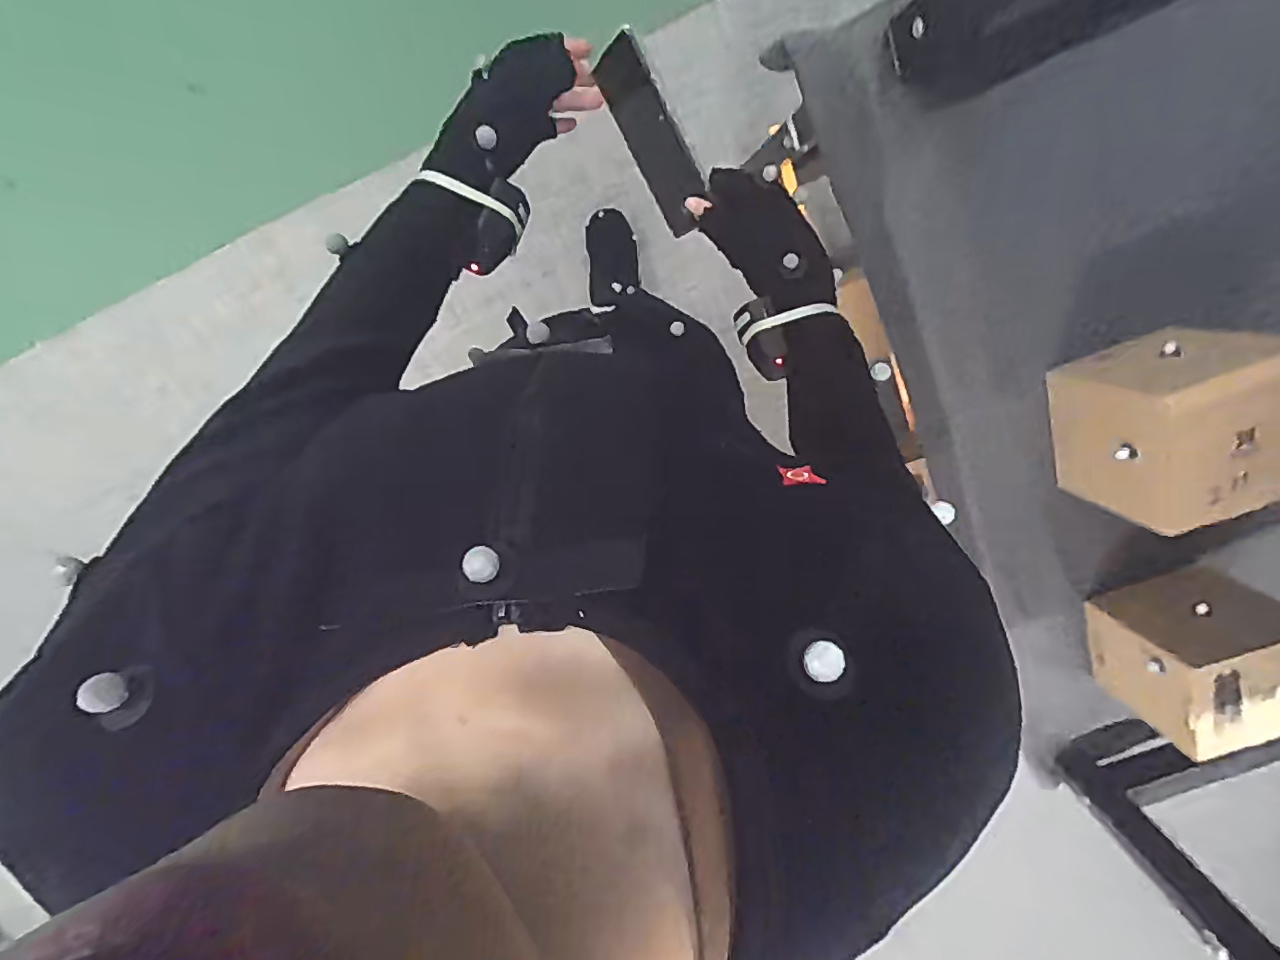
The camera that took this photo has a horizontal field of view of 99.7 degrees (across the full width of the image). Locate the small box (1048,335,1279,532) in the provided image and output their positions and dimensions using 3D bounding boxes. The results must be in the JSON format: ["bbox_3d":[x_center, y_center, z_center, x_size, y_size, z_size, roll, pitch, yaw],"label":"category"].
[{"bbox_3d":[0.640,-0.068,0.657,0.168,0.176,0.179,-20,109,5],"label":"small box"}]
